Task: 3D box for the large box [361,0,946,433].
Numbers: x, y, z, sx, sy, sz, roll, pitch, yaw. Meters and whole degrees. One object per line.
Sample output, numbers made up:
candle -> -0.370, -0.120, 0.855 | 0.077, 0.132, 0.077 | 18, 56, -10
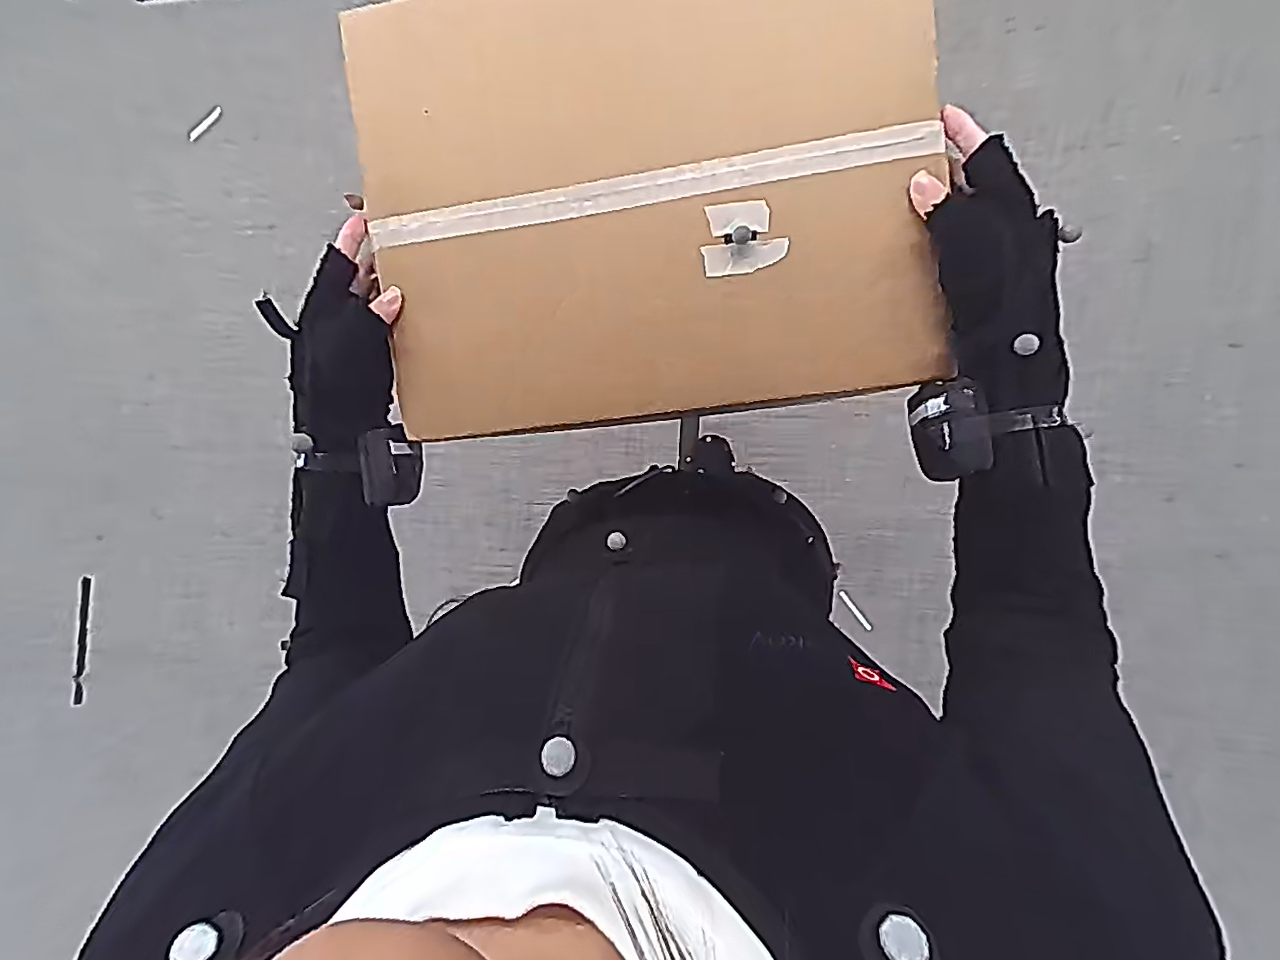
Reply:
large box -> 0.017, -0.228, 0.542 | 0.408, 0.320, 0.320 | -6, 96, 6
